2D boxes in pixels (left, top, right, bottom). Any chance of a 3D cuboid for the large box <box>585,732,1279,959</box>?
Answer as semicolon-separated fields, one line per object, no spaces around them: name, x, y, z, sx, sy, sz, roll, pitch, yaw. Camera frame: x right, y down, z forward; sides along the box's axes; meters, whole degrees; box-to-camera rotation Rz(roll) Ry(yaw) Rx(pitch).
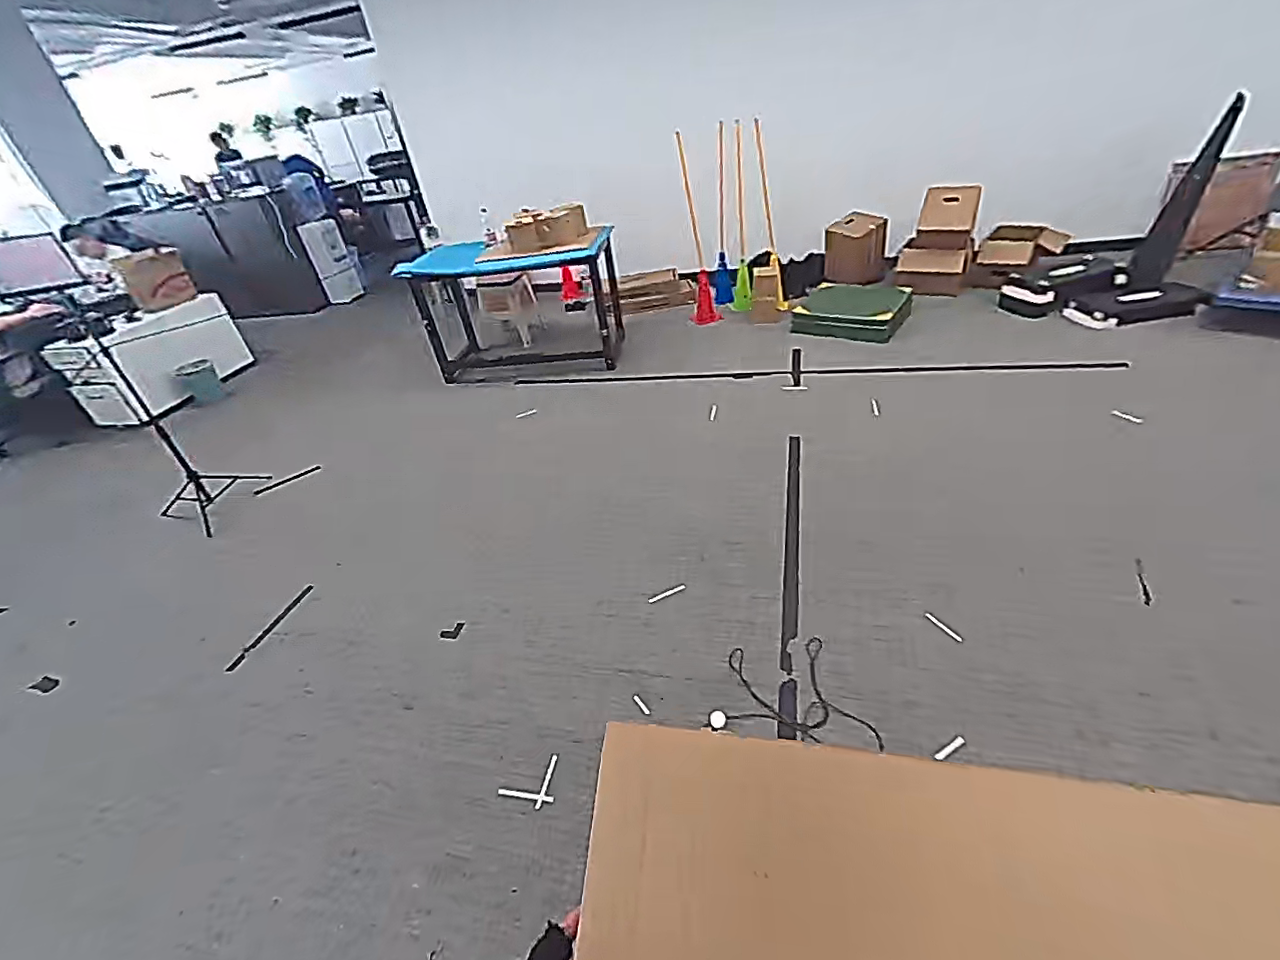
large box;0.190;0.381;0.404;0.408;0.320;0.320;-1;65;17
